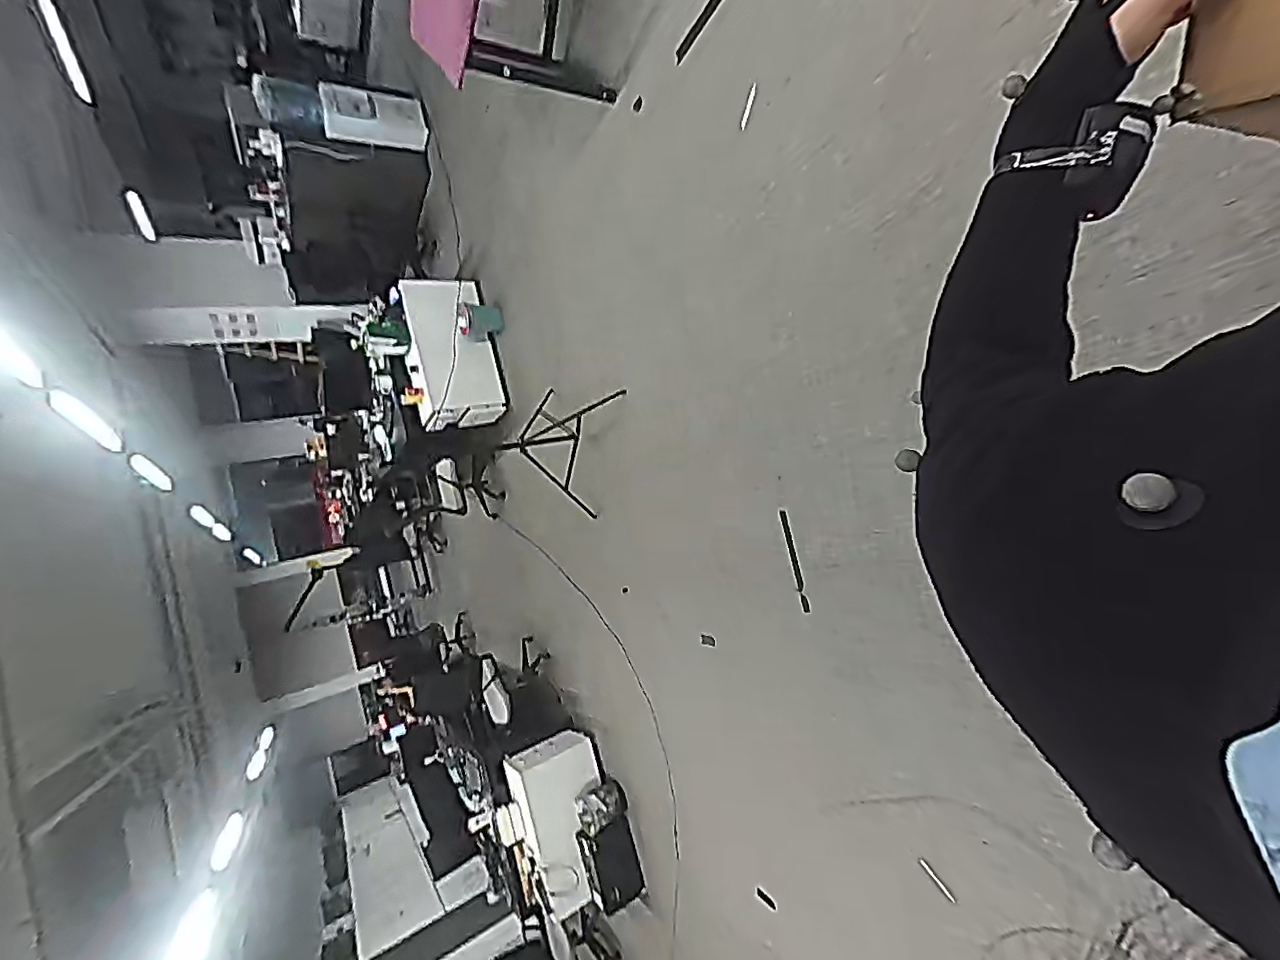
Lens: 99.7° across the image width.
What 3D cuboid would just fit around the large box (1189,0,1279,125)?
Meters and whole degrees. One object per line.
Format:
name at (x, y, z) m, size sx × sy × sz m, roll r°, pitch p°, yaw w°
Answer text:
large box at (0.610, -0.409, 0.253) m, size 0.408 × 0.320 × 0.320 m, roll 21°, pitch 121°, yaw 56°
